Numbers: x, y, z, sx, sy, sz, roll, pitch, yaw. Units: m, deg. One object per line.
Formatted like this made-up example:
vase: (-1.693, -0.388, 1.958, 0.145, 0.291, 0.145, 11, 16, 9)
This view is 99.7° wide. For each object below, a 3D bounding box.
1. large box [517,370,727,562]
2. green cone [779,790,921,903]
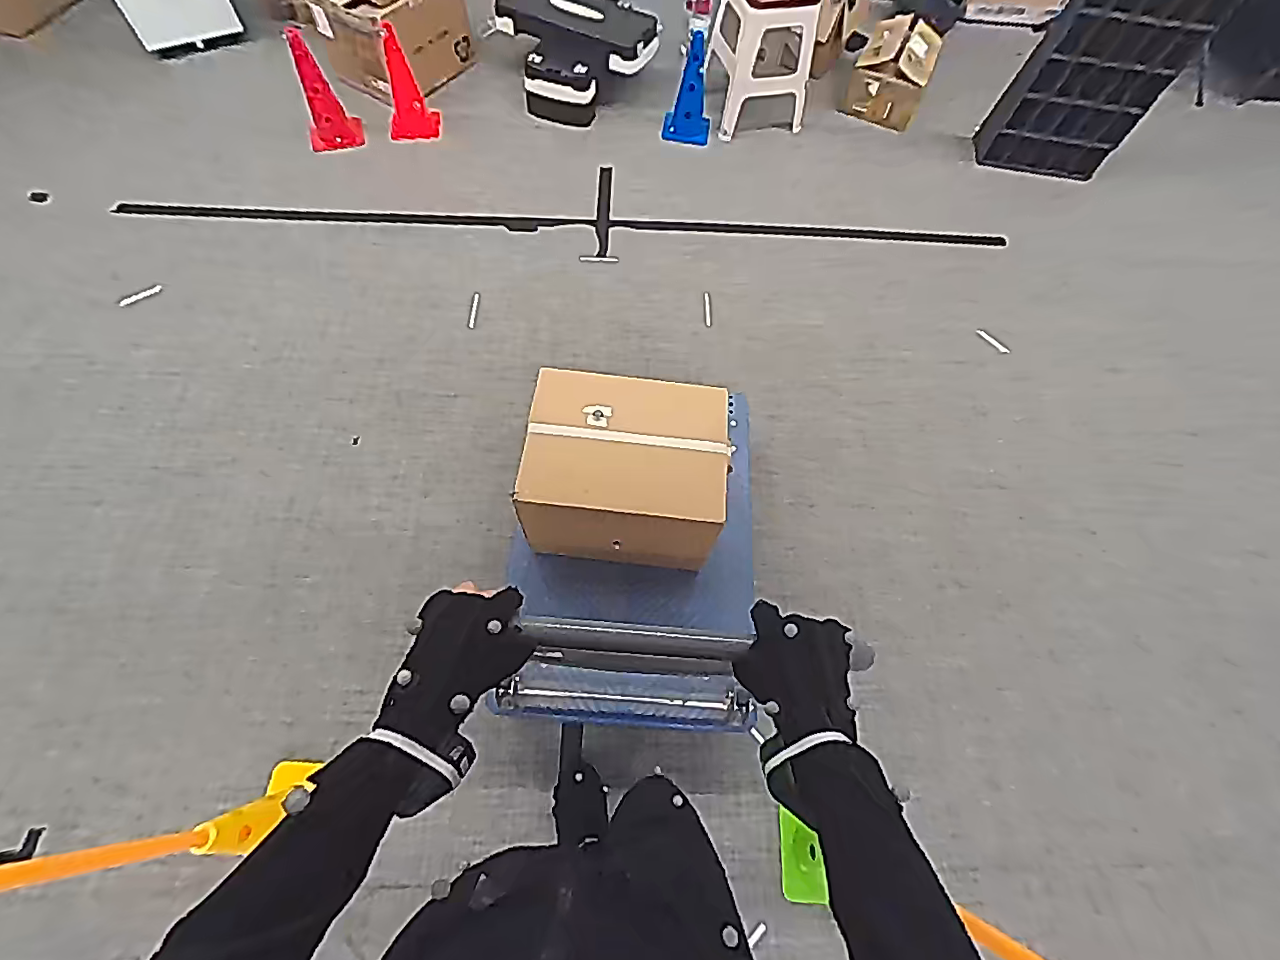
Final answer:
large box: (-0.029, -0.016, 1.224, 0.408, 0.320, 0.320, 7, 64, 0)
green cone: (0.422, 0.732, 1.043, 0.202, 0.368, 0.200, 6, 63, -2)
